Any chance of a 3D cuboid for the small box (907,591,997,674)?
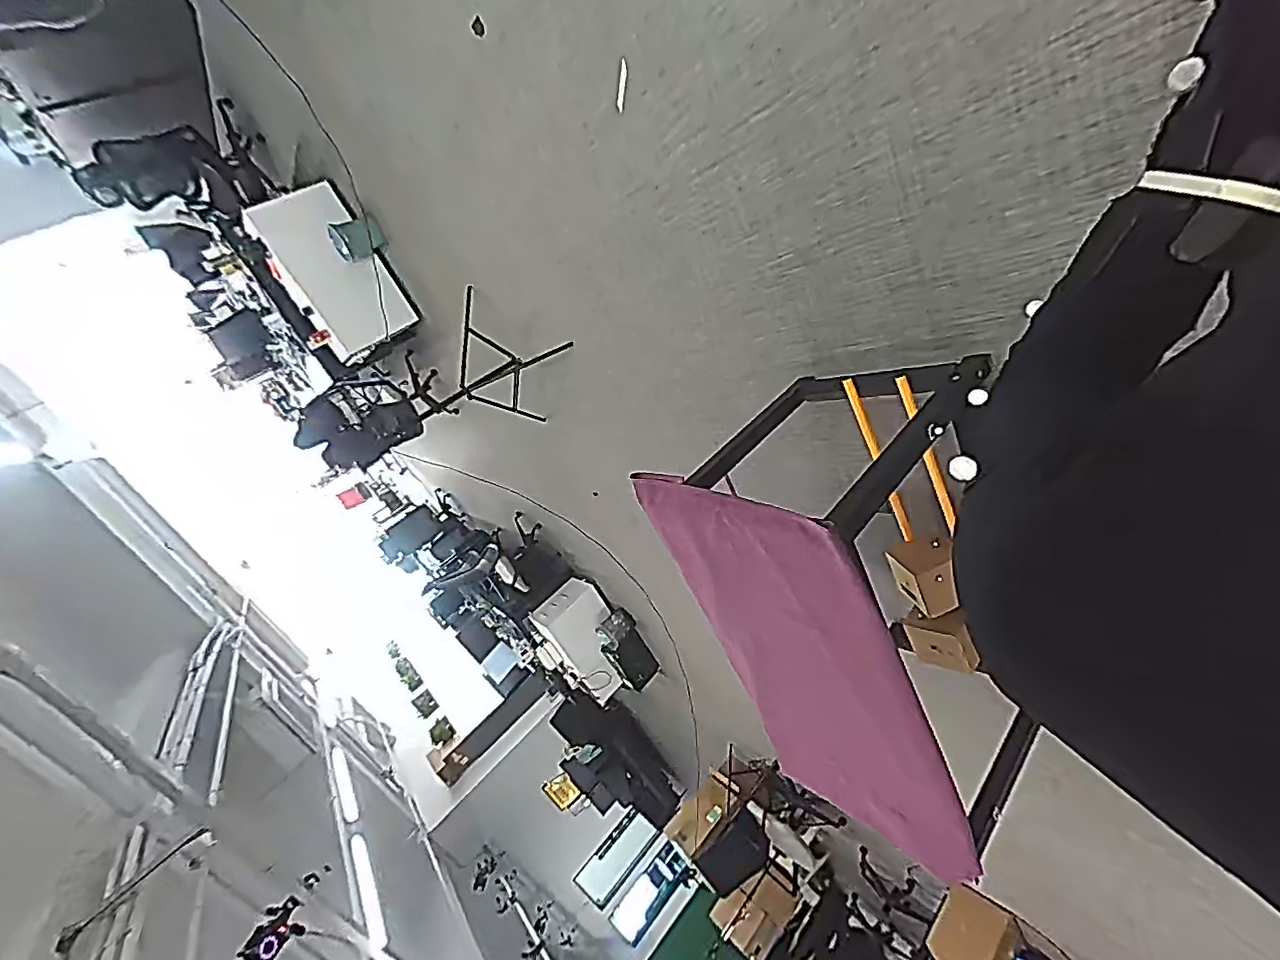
[{"bbox_3d":[0.994,0.476,1.720,0.179,0.176,0.168,-1,126,56],"label":"small box"}]
